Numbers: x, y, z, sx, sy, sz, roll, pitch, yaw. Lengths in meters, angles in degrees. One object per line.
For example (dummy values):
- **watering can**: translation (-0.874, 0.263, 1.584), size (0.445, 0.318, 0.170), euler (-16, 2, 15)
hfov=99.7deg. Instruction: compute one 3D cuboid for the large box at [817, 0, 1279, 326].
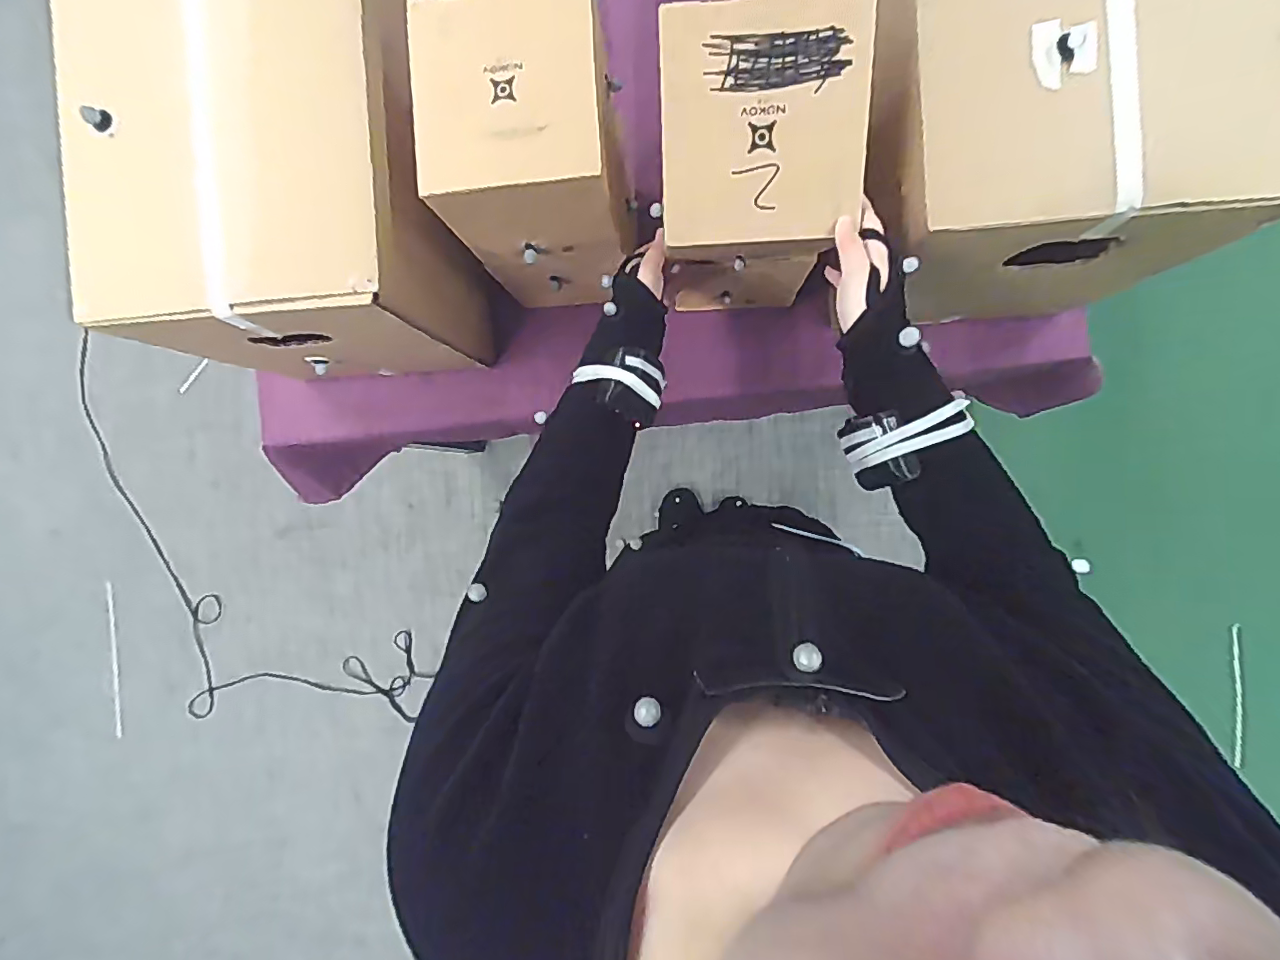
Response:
- **large box**: translation (0.405, -0.421, 0.614), size (0.320, 0.320, 0.408), euler (-2, 91, 4)
